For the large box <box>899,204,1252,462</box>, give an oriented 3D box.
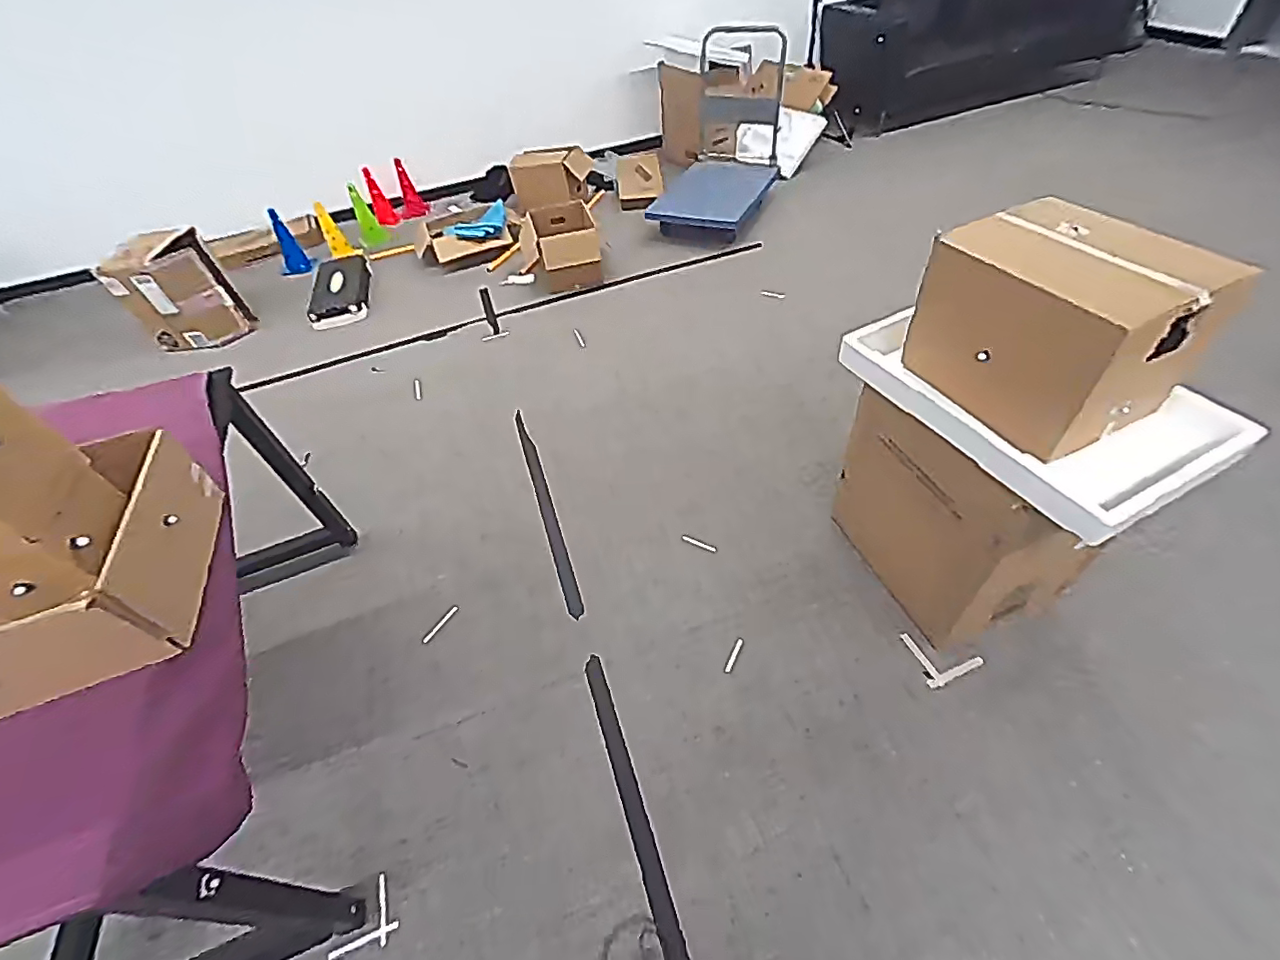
[{"bbox_3d":[0.821,-0.309,1.102,0.320,0.320,0.408,-22,47,-13],"label":"large box"}]
